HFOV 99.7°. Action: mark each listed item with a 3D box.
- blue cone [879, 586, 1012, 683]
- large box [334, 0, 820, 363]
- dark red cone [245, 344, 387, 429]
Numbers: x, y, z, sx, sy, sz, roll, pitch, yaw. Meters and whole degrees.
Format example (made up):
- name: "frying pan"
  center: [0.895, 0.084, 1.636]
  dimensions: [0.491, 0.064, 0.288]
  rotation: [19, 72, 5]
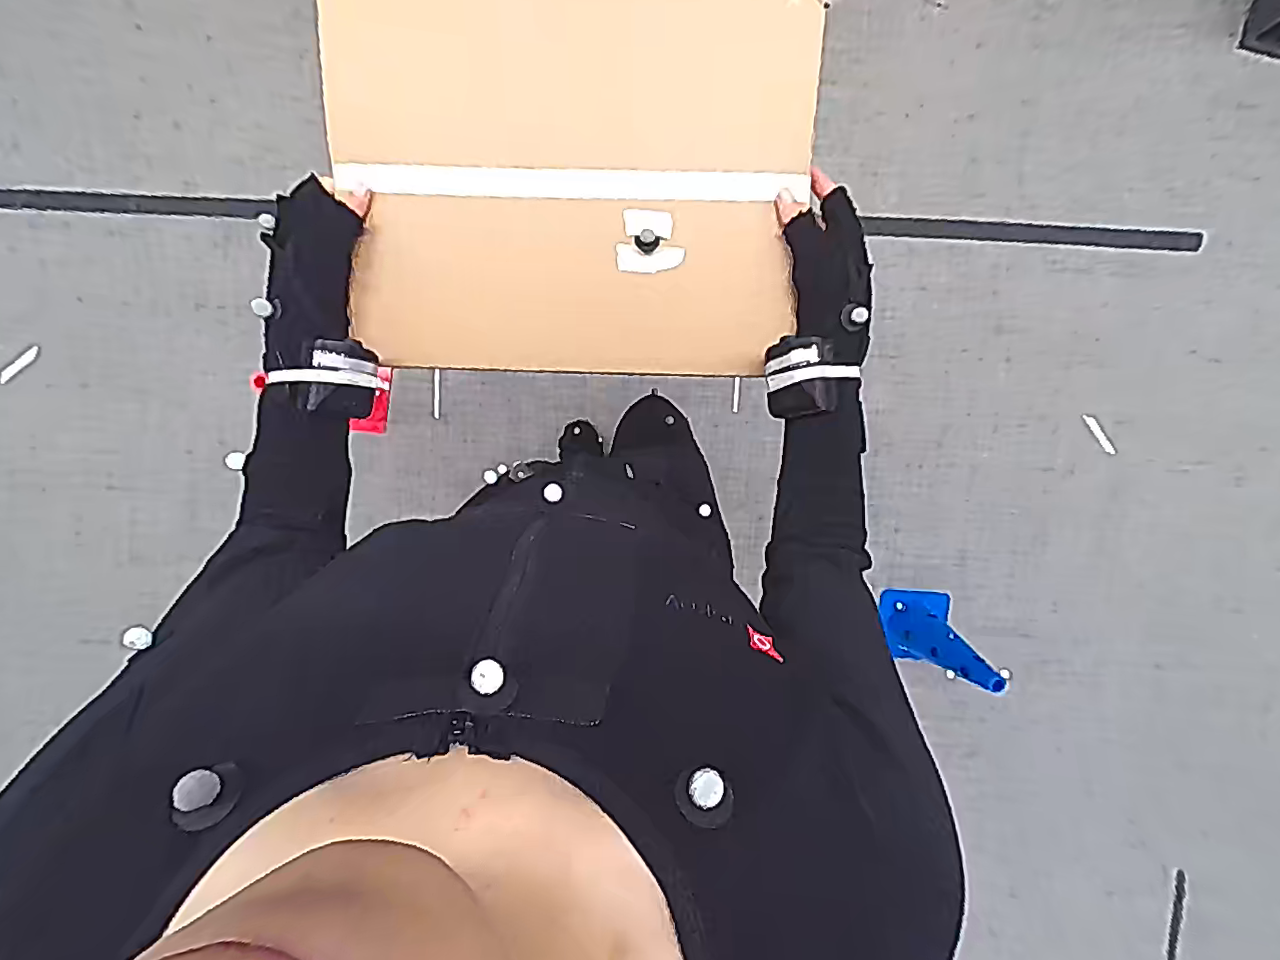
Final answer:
- name: "blue cone"
  center: [0.785, 0.411, 1.373]
  dimensions: [0.192, 0.380, 0.193]
  rotation: [5, 96, -3]
- name: "large box"
  center: [-0.056, -0.295, 0.613]
  dimensions: [0.408, 0.320, 0.320]
  rotation: [1, 103, -1]
- name: "dark red cone"
  center: [-0.754, -0.223, 1.235]
  dimensions: [0.201, 0.394, 0.202]
  rotation: [8, 96, -3]
